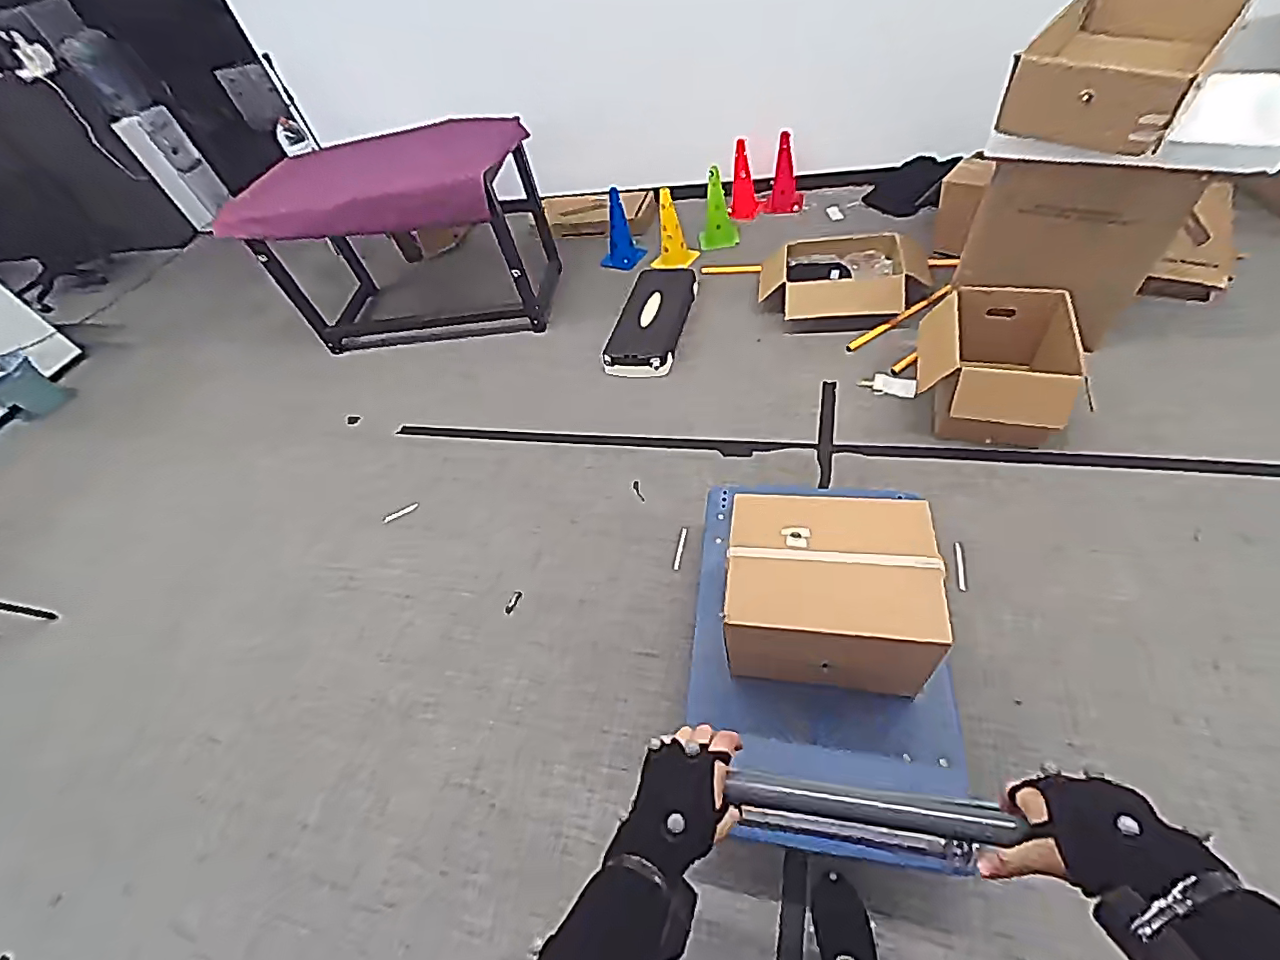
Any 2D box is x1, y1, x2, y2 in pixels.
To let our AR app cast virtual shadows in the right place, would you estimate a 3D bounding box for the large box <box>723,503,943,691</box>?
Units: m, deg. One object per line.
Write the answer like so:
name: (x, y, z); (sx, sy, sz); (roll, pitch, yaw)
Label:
large box: (0.409, 0.265, 1.225); (0.408, 0.320, 0.320); (1, 52, 15)
